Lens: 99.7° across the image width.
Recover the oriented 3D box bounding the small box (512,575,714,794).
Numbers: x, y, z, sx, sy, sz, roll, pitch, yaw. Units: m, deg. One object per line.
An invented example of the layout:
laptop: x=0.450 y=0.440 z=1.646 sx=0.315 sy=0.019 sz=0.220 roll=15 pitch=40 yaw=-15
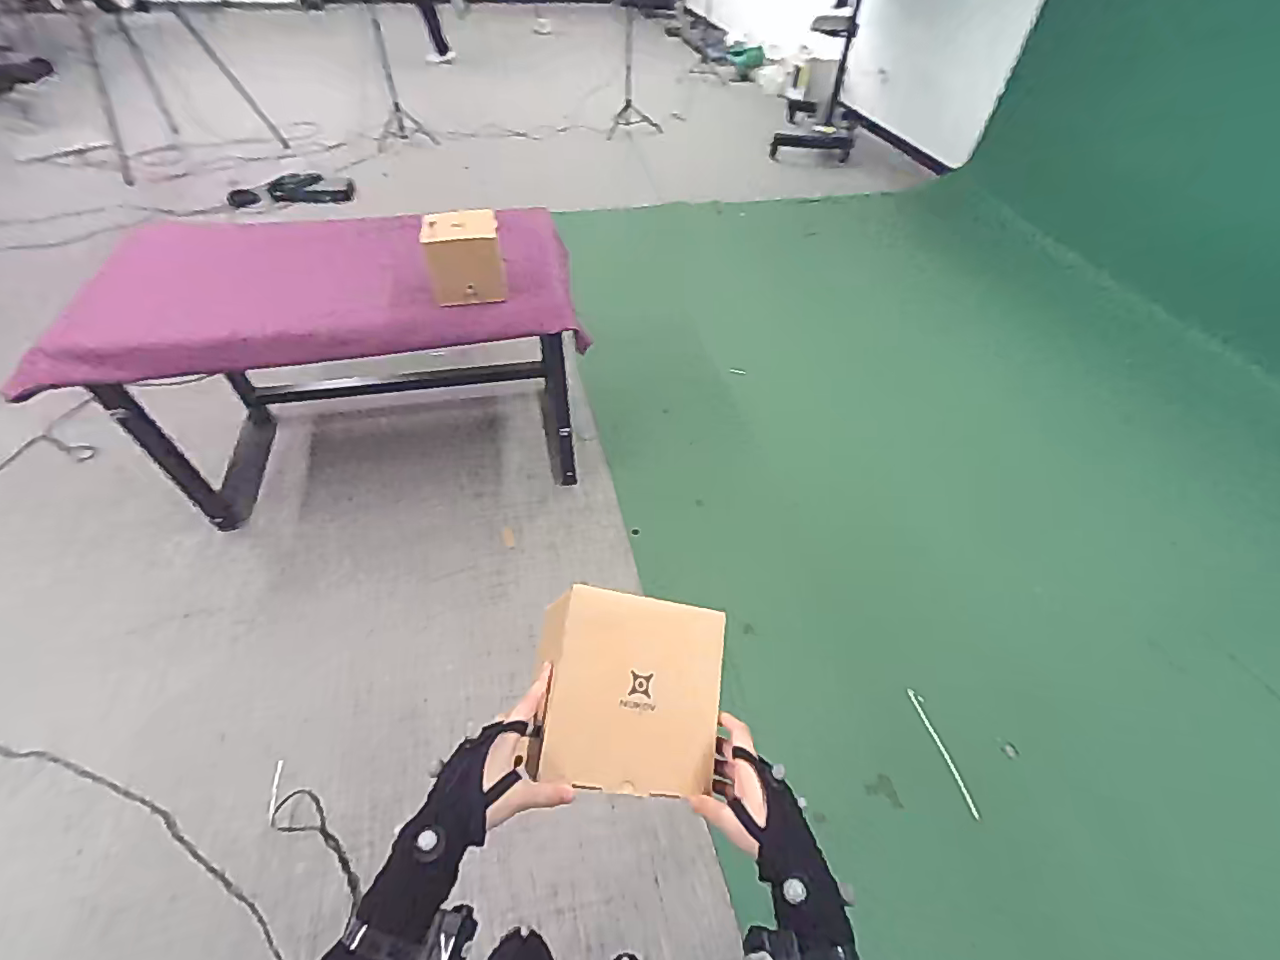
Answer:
small box: x=-0.035 y=0.216 z=0.578 sx=0.168 sy=0.176 sz=0.179 roll=14 pitch=67 yaw=-13

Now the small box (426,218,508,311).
small box: x=-0.440 y=-0.558 z=1.402 sx=0.179 sy=0.176 sz=0.168 roll=-8 pitch=47 yaw=-9
